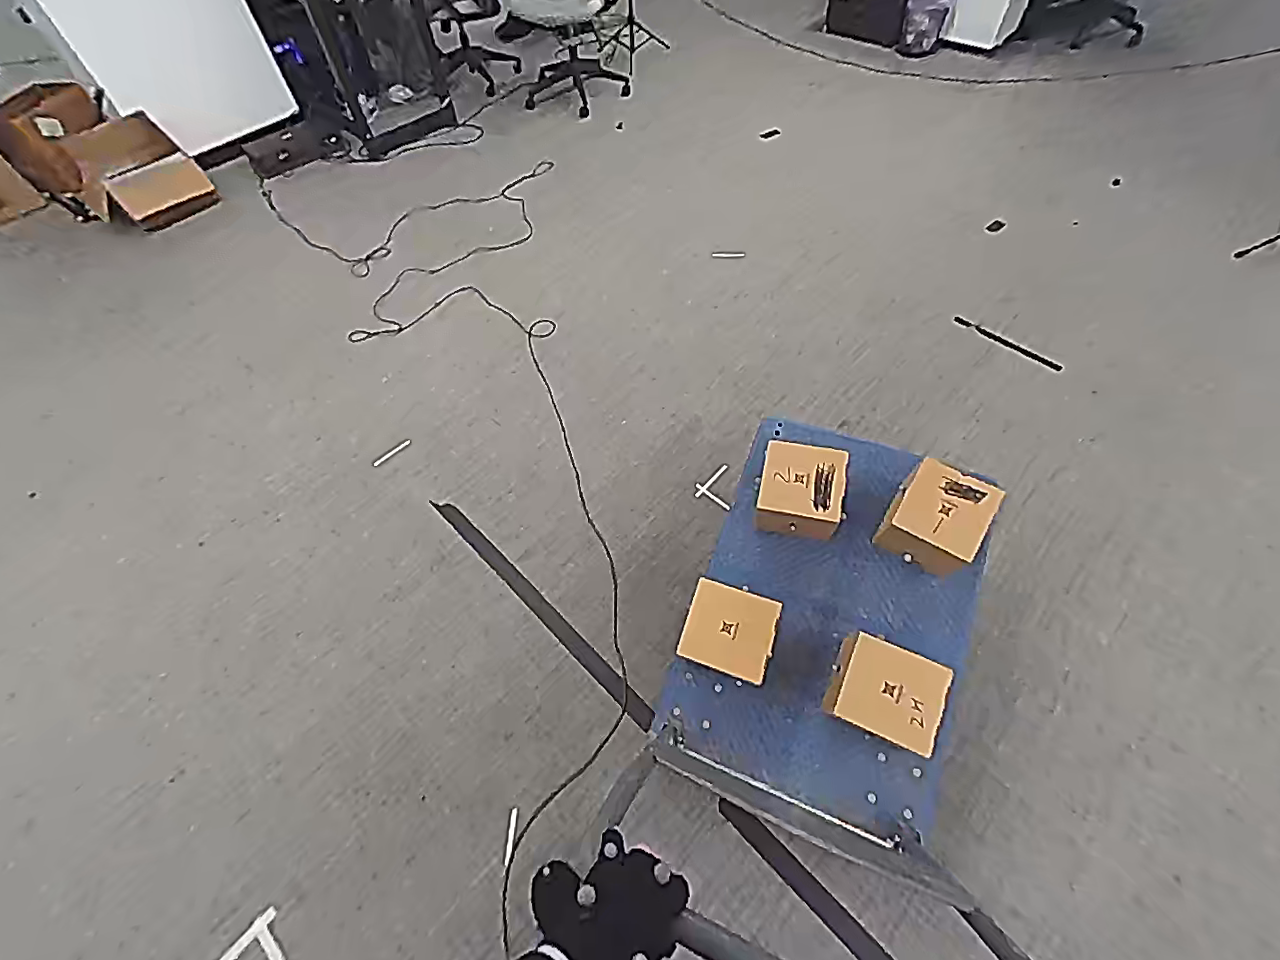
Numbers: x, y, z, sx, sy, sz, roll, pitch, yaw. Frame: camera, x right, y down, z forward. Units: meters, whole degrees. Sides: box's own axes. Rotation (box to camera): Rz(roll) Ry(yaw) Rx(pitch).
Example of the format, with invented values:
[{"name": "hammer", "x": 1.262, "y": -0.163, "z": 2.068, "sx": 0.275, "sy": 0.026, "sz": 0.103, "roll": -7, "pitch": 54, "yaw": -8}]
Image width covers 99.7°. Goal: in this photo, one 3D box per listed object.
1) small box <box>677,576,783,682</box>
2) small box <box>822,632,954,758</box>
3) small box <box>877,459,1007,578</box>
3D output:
[{"name": "small box", "x": 0.191, "y": 0.324, "z": 1.157, "sx": 0.179, "sy": 0.176, "sz": 0.168, "roll": 17, "pitch": 73, "yaw": 13}, {"name": "small box", "x": 0.479, "y": 0.422, "z": 1.072, "sx": 0.179, "sy": 0.176, "sz": 0.168, "roll": 22, "pitch": 74, "yaw": 17}, {"name": "small box", "x": 0.643, "y": 0.089, "z": 1.175, "sx": 0.168, "sy": 0.176, "sz": 0.179, "roll": 30, "pitch": 77, "yaw": 18}]
